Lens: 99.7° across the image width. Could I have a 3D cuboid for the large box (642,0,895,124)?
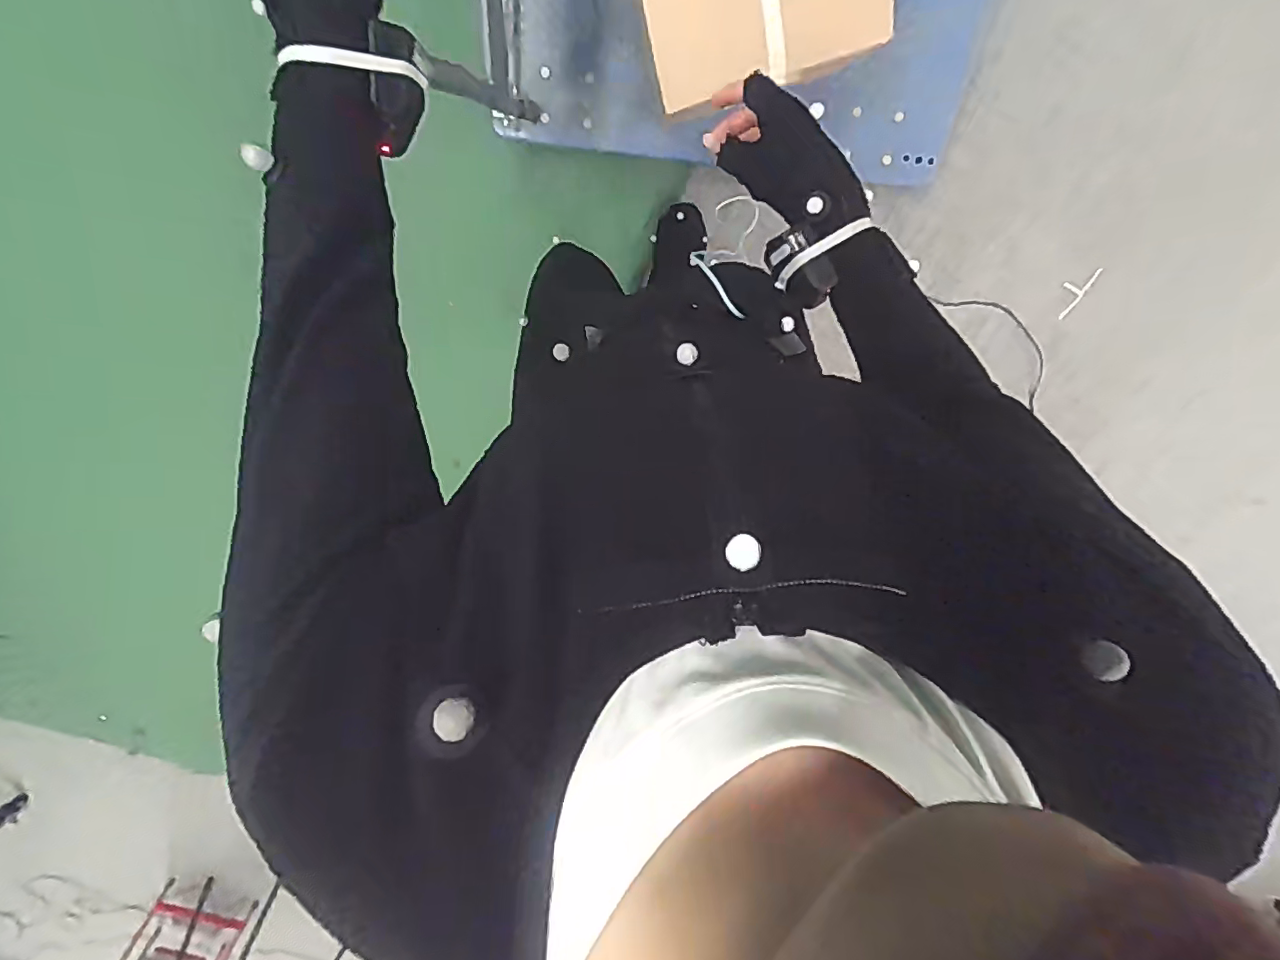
[{"bbox_3d":[0.142,-0.793,0.771,0.320,0.320,0.408,-12,118,8],"label":"large box"}]
